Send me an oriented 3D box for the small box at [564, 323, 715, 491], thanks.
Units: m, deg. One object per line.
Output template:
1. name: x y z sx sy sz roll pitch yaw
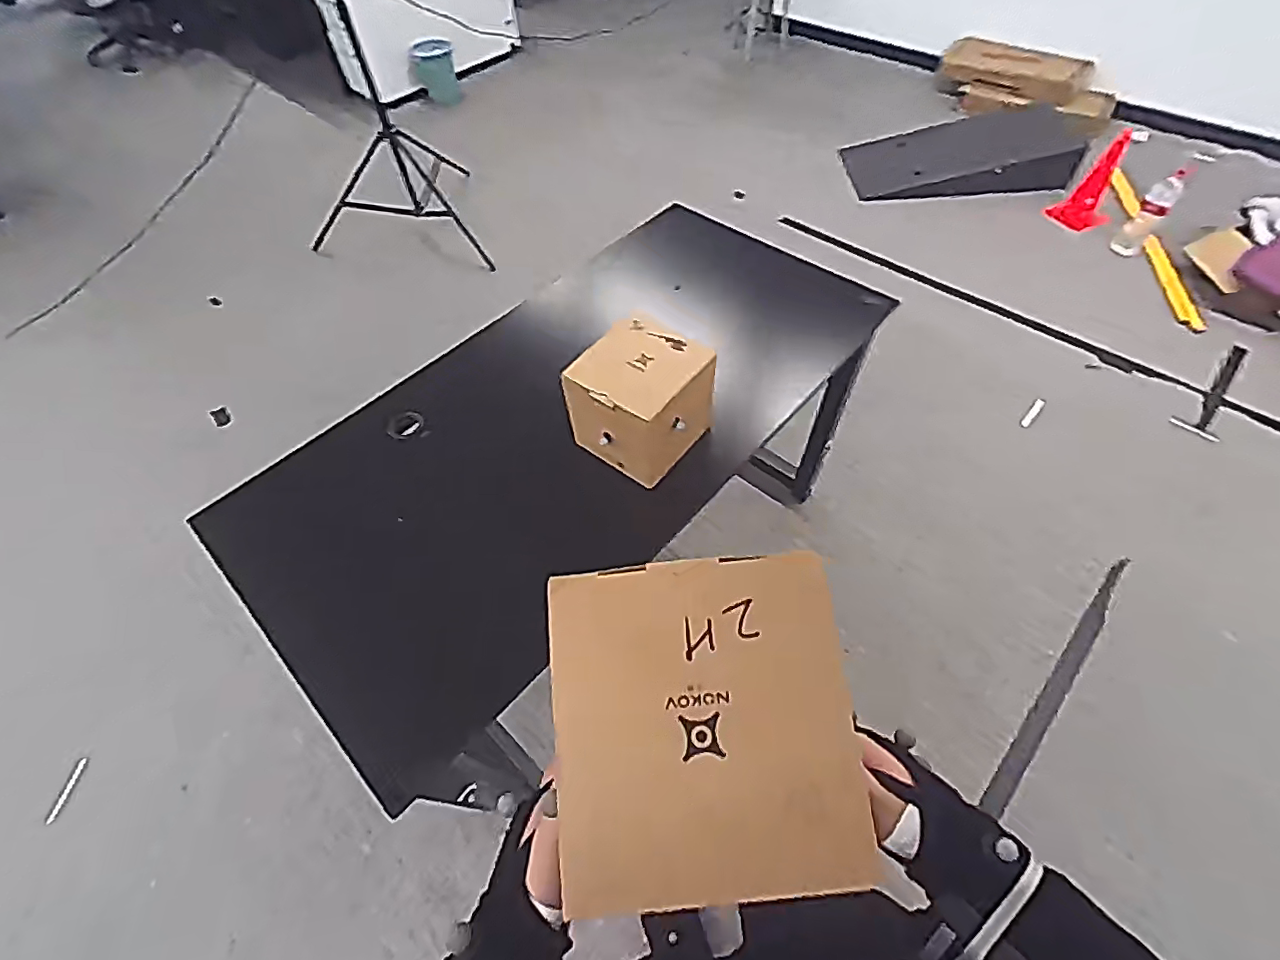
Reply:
1. small box: 0.006 -0.114 0.877 0.168 0.176 0.179 32 63 23

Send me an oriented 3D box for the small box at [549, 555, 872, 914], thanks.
1. small box: 0.035 0.160 0.381 0.168 0.176 0.179 -6 71 0
